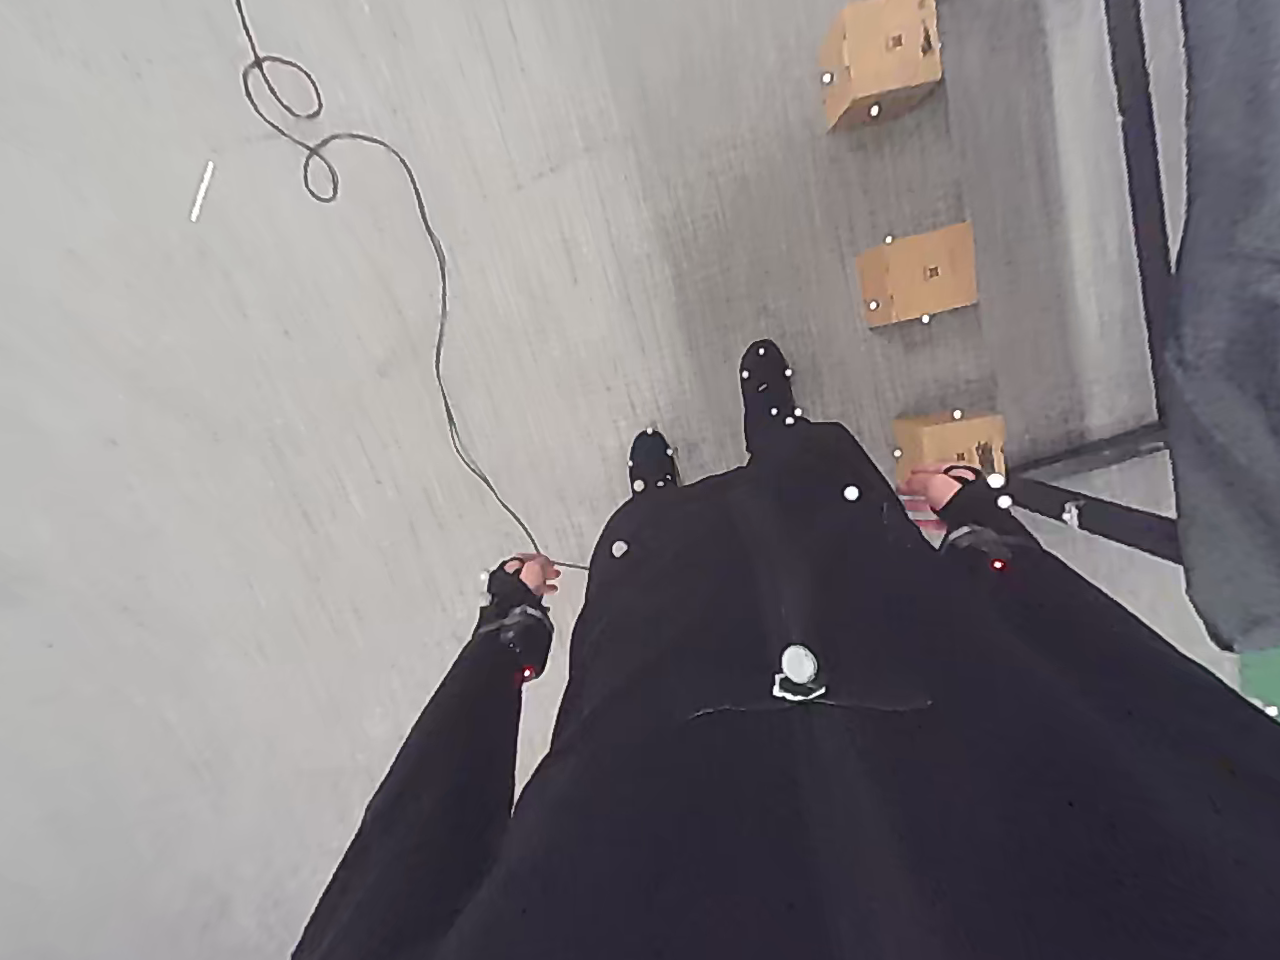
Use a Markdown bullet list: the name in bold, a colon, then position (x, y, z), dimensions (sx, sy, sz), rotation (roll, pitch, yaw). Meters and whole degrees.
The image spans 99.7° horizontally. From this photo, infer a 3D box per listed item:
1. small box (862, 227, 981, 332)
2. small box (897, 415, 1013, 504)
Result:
- **small box**: position (0.612, -0.433, 1.197), dimensions (0.179, 0.176, 0.168), rotation (-15, 101, 3)
- **small box**: position (0.729, -0.054, 1.262), dimensions (0.179, 0.176, 0.168), rotation (-10, 100, 5)
